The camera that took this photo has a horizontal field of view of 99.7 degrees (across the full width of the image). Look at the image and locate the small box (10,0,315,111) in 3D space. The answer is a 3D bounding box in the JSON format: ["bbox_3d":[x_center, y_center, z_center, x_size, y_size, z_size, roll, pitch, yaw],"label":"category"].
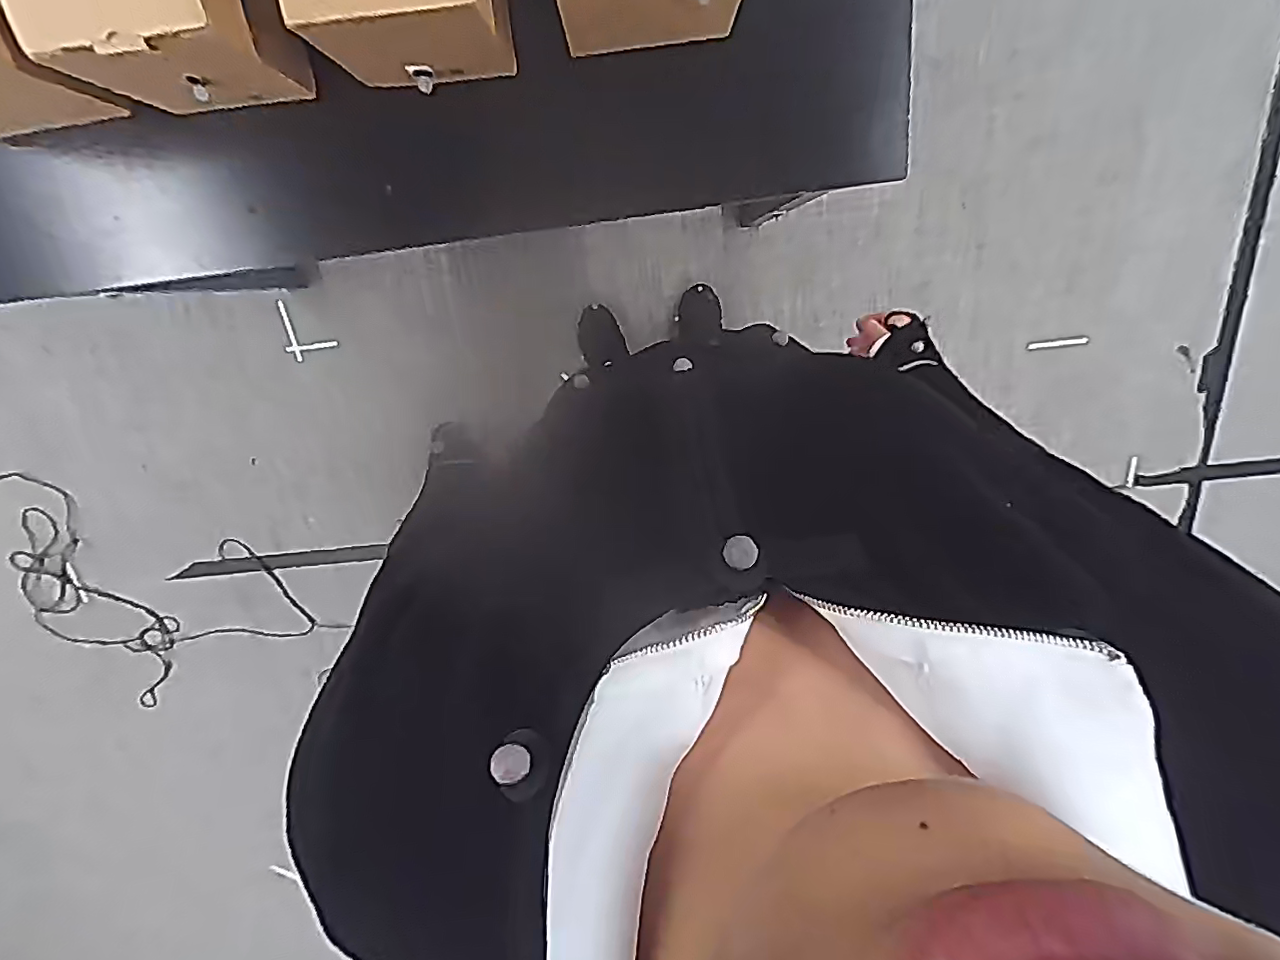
[{"bbox_3d":[-0.448,-0.473,0.510,0.168,0.176,0.179,-6,110,2],"label":"small box"}]

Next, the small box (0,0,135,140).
[{"bbox_3d":[-0.661,-0.447,0.514,0.179,0.176,0.168,-9,109,1],"label":"small box"}]

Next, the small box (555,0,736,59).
[{"bbox_3d":[0.002,-0.525,0.499,0.179,0.176,0.168,-6,109,1],"label":"small box"}]
